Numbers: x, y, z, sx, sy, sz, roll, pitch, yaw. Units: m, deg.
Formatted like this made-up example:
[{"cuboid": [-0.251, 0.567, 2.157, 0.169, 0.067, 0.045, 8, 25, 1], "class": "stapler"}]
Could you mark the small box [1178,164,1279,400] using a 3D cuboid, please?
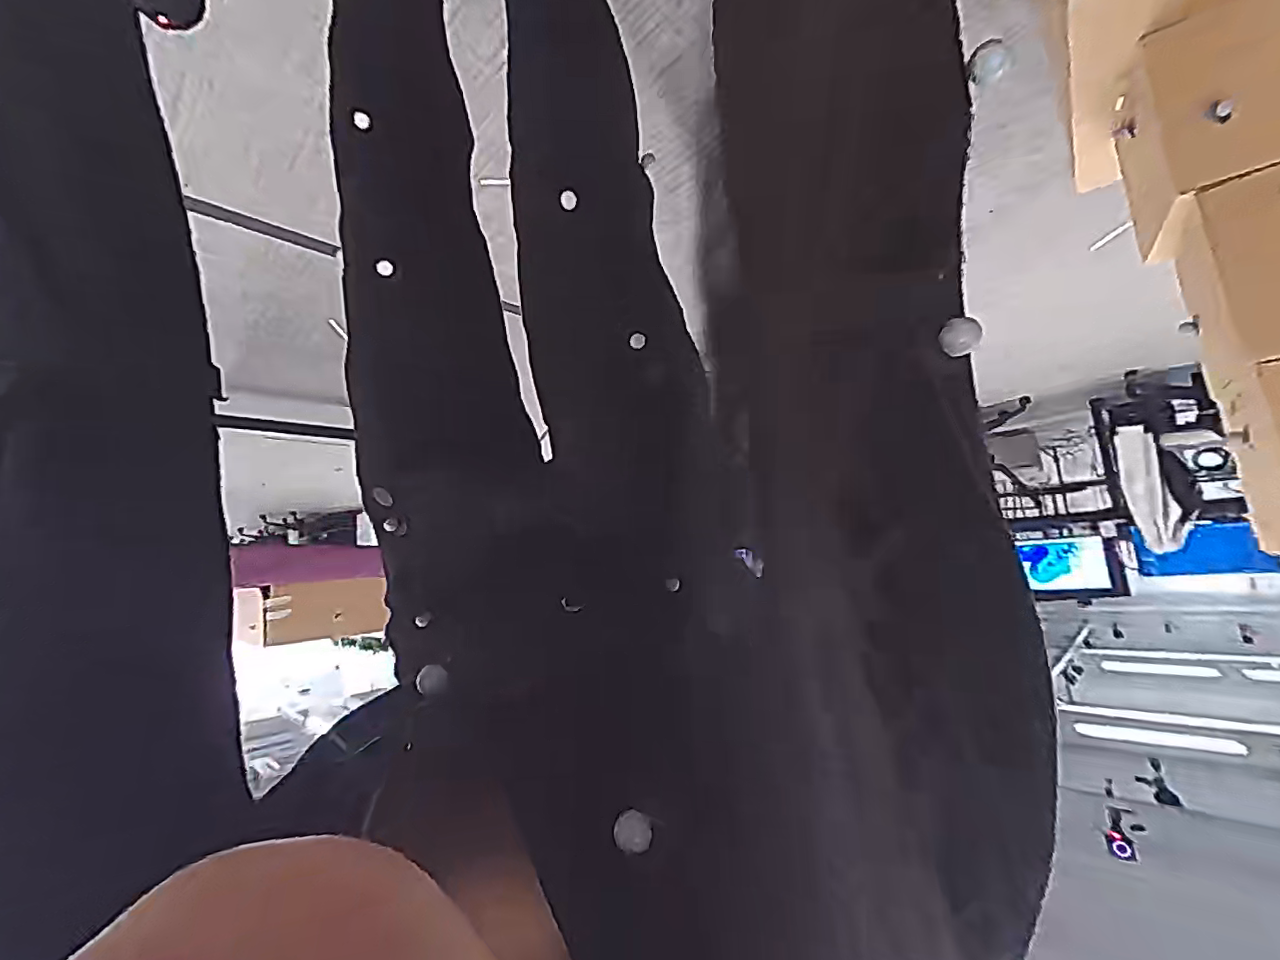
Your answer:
[{"cuboid": [0.626, -0.188, 0.491, 0.168, 0.176, 0.179, -14, 167, 39], "class": "small box"}]

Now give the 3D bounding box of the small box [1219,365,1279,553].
[{"cuboid": [0.649, -0.028, 0.456, 0.179, 0.176, 0.168, -13, 168, 37], "class": "small box"}]
